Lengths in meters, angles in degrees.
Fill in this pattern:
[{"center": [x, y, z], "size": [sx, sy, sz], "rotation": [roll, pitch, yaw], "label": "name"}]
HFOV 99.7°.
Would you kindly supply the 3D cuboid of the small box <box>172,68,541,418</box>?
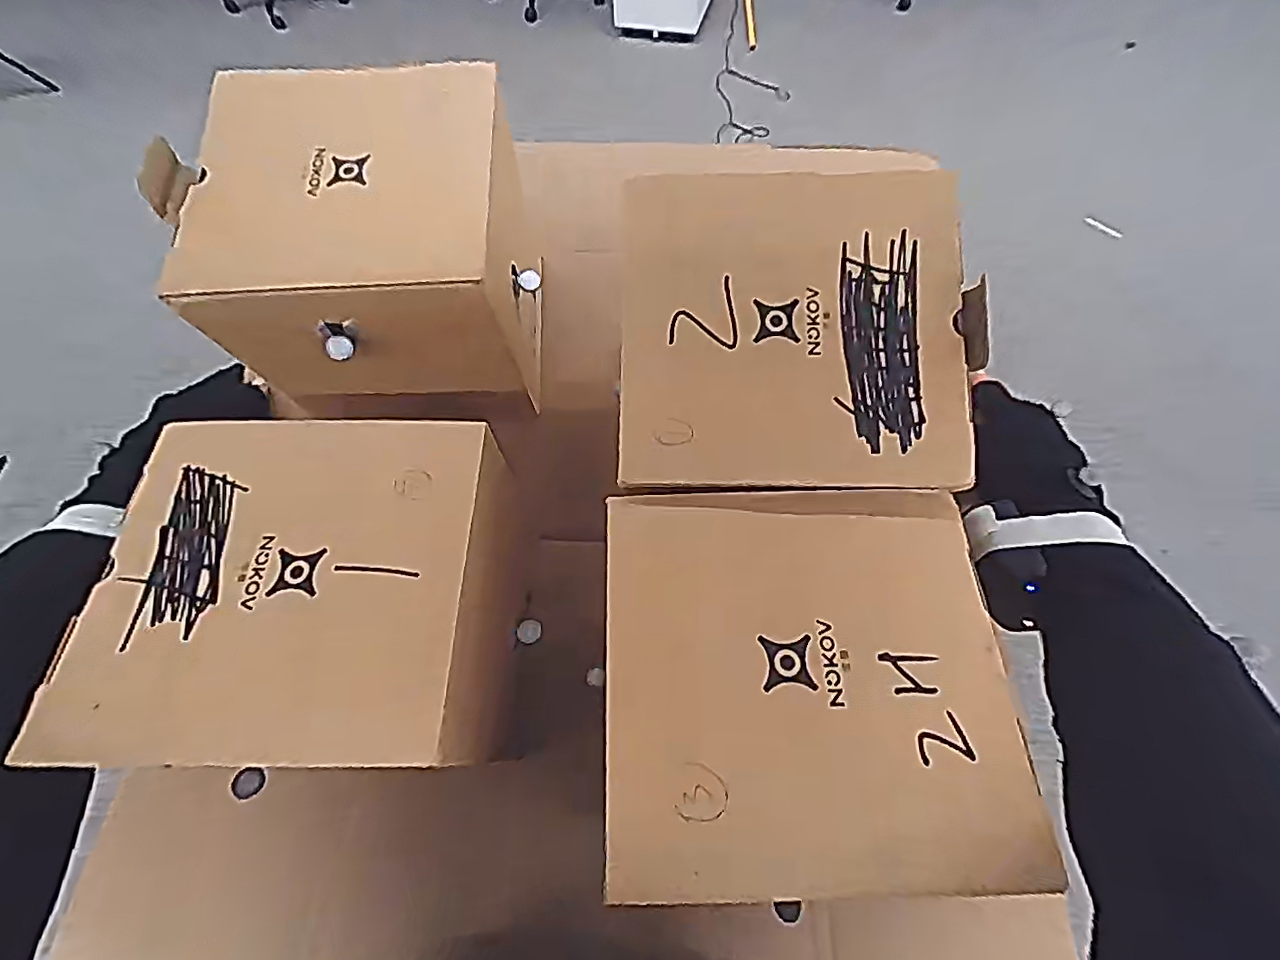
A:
[{"center": [-0.173, -0.155, 0.397], "size": [0.179, 0.176, 0.168], "rotation": [-3, 71, 1], "label": "small box"}]
